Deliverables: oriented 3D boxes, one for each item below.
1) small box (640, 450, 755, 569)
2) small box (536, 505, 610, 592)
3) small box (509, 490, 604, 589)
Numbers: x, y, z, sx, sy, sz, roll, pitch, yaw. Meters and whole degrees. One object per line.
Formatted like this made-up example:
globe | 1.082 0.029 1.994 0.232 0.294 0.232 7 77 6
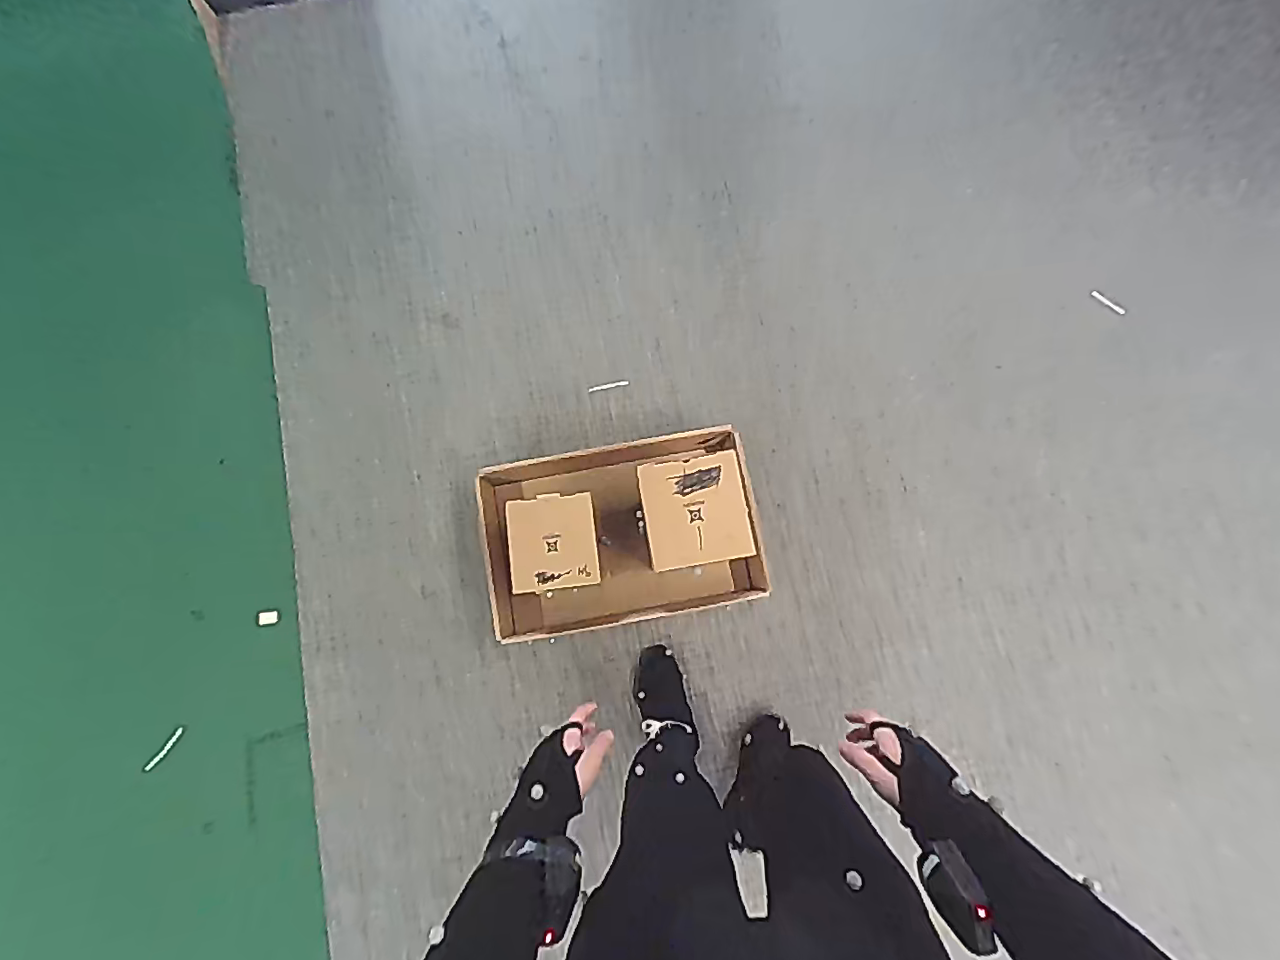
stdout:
small box | 0.091 0.060 0.955 0.168 0.176 0.179 -10 81 0
small box | -0.165 0.156 1.264 0.168 0.176 0.179 -11 81 -5
small box | -0.165 0.127 1.101 0.168 0.176 0.179 -6 80 -2
